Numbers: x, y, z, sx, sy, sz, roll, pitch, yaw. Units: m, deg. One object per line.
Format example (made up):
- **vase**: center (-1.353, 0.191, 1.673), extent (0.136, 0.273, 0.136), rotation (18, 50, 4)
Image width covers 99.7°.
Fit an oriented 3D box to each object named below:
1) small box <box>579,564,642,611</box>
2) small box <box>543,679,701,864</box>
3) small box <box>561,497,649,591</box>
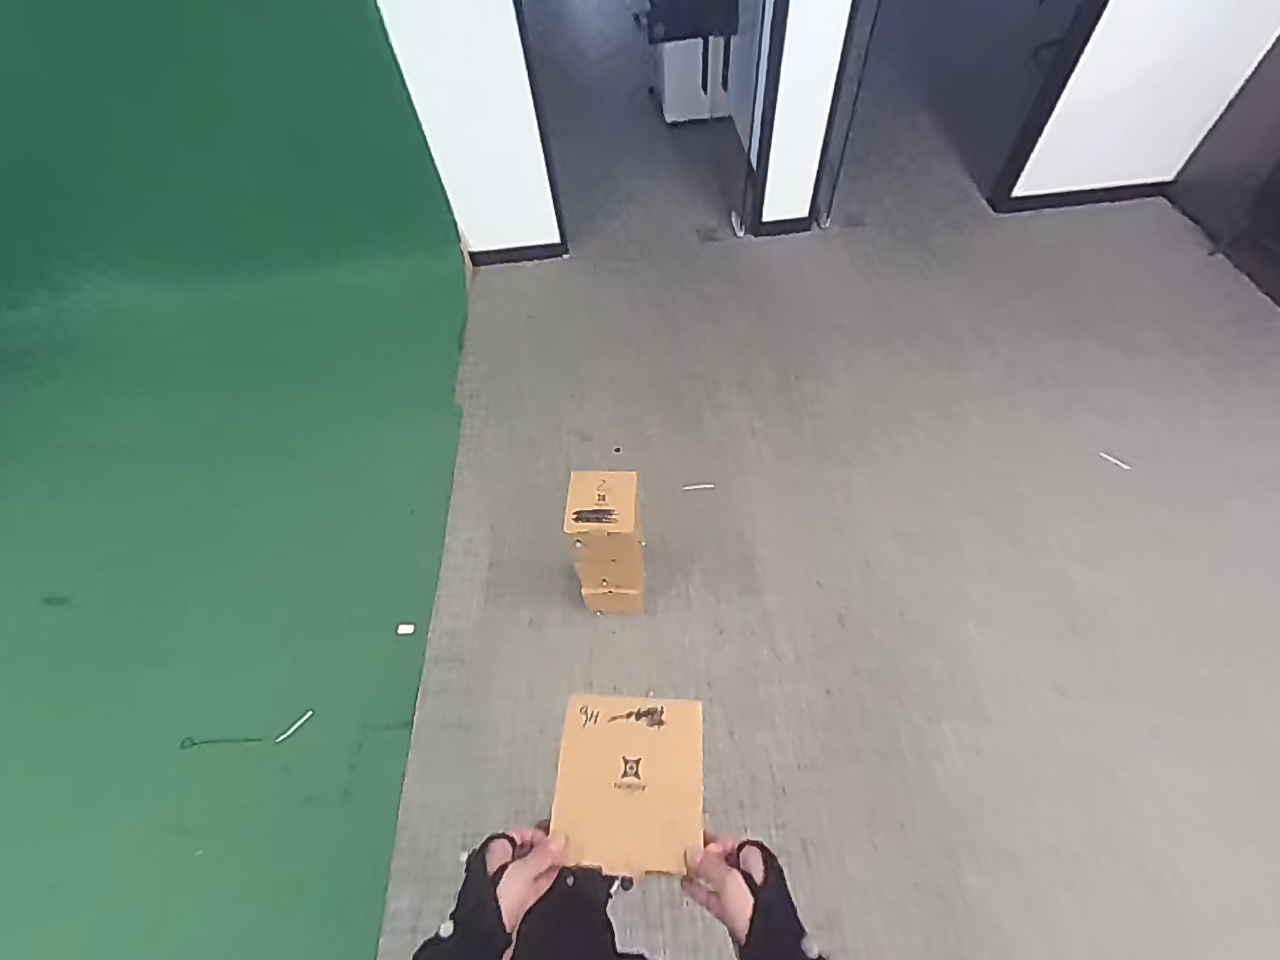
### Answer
- **small box**: center (-0.082, 0.285, 1.620), extent (0.168, 0.176, 0.179), rotation (0, 55, 3)
- **small box**: center (-0.011, 0.366, 0.676), extent (0.168, 0.176, 0.179), rotation (3, 55, 4)
- **small box**: center (-0.092, 0.183, 1.503), extent (0.179, 0.176, 0.168), rotation (27, 63, 21)
